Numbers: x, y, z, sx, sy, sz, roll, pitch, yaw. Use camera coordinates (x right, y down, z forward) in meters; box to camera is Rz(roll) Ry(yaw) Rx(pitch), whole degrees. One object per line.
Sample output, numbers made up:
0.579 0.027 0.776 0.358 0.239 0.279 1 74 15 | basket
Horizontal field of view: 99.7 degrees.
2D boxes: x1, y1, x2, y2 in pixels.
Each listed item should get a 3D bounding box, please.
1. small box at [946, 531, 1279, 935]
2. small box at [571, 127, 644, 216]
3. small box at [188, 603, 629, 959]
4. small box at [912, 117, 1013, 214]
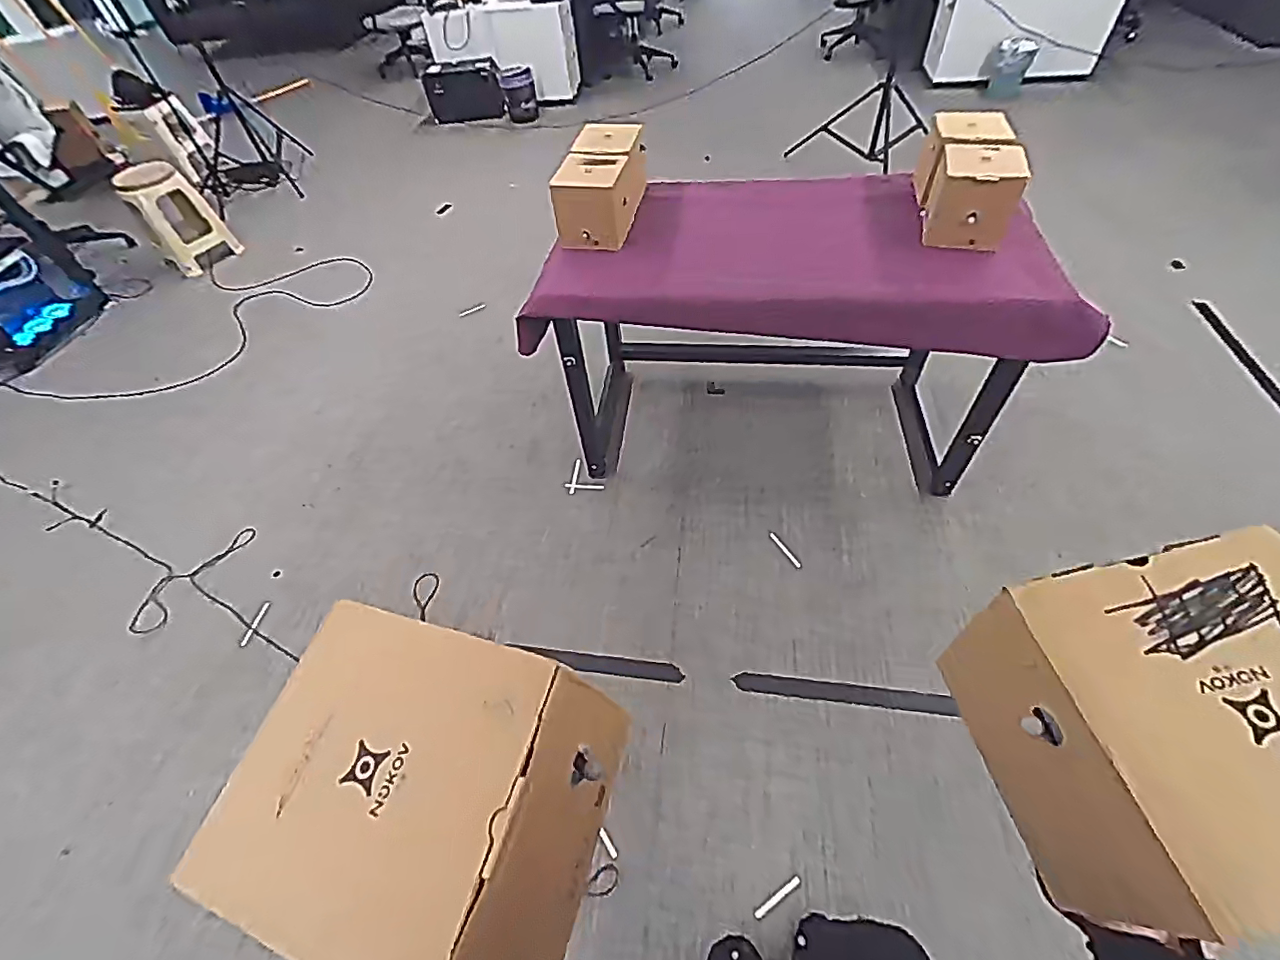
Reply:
0.337 0.163 0.353 0.168 0.176 0.179 -14 55 3 | small box
-0.084 -0.874 1.532 0.168 0.176 0.179 7 54 11 | small box
-0.123 0.205 0.364 0.179 0.176 0.168 8 59 21 | small box
0.823 -0.816 1.402 0.168 0.176 0.179 7 52 10 | small box
